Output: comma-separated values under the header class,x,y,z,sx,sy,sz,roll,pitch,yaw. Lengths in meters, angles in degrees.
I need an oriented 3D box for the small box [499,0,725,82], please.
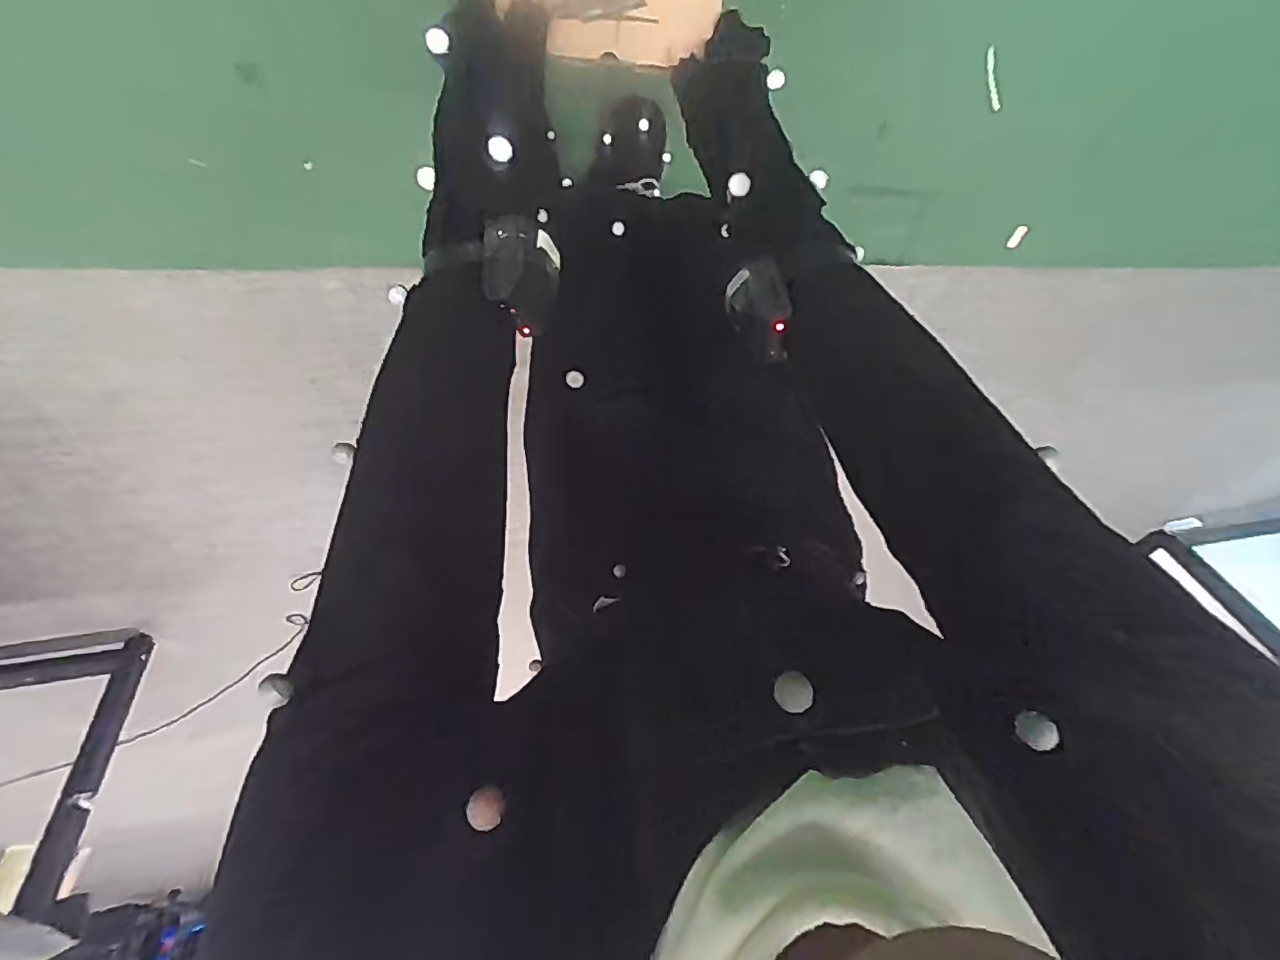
class,x,y,z,sx,sy,sz,roll,pitch,yaw
small box,-0.026,-0.433,0.413,0.168,0.176,0.179,-3,135,-12
